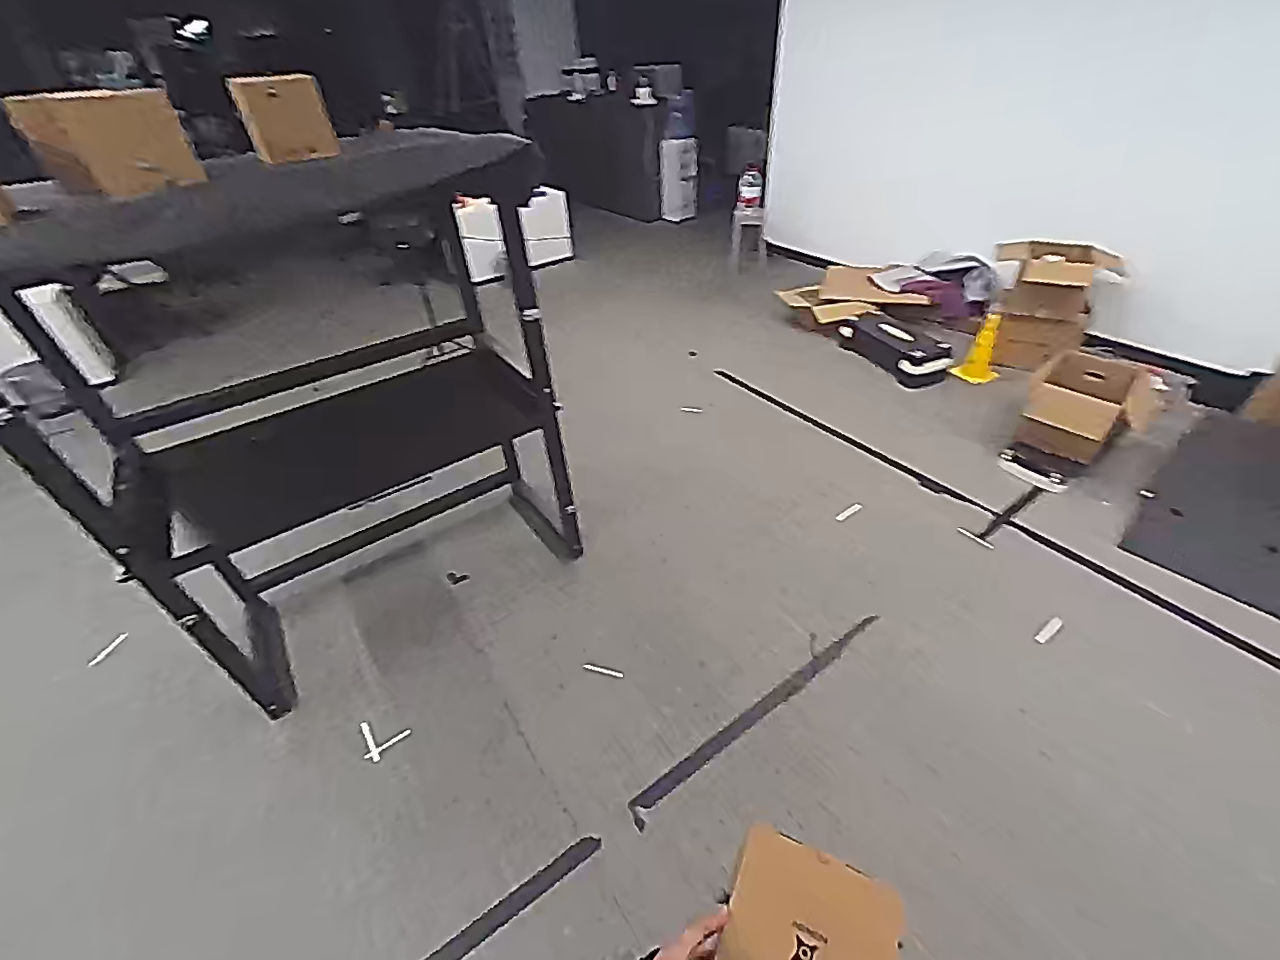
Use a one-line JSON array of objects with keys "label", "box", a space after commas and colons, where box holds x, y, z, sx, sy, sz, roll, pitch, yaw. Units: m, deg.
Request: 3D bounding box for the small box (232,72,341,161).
[{"label": "small box", "box": [-0.879, -0.906, 1.349, 0.168, 0.176, 0.179, -27, 44, -25]}]

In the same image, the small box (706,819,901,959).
[{"label": "small box", "box": [0.169, 0.518, 0.597, 0.168, 0.176, 0.179, 16, 51, 17]}]

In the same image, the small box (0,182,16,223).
[{"label": "small box", "box": [-1.201, -0.511, 0.890, 0.168, 0.176, 0.179, -28, 45, -27]}]
